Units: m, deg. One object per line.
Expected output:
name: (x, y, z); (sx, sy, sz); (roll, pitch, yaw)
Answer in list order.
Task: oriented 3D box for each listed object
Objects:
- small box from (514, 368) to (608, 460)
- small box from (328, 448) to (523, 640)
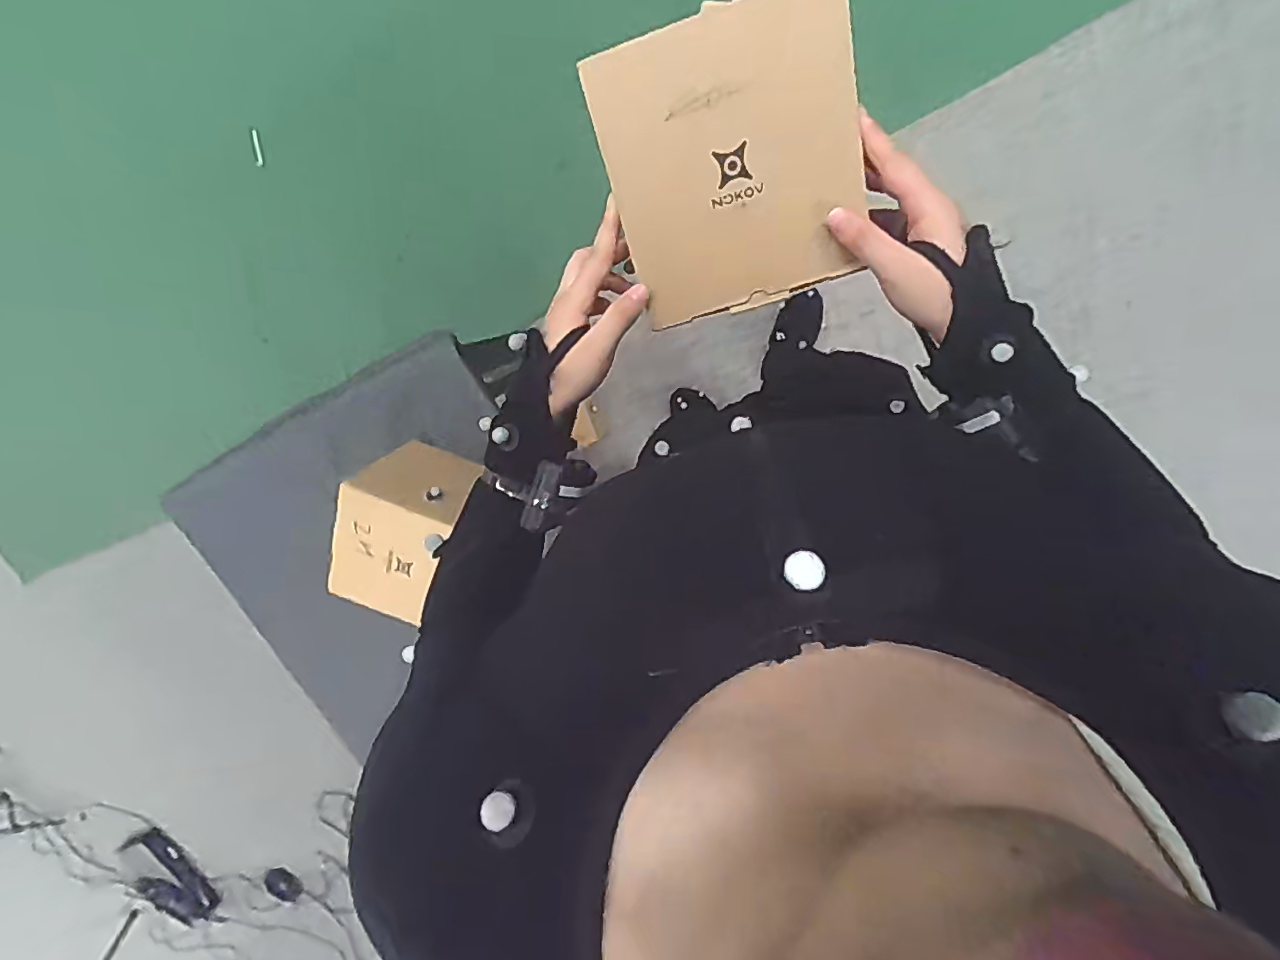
small box: (-0.196, -0.176, 1.408); (0.168, 0.176, 0.179); (-18, 105, 13)
small box: (-0.277, 0.075, 0.725); (0.179, 0.176, 0.168); (21, 113, 0)
